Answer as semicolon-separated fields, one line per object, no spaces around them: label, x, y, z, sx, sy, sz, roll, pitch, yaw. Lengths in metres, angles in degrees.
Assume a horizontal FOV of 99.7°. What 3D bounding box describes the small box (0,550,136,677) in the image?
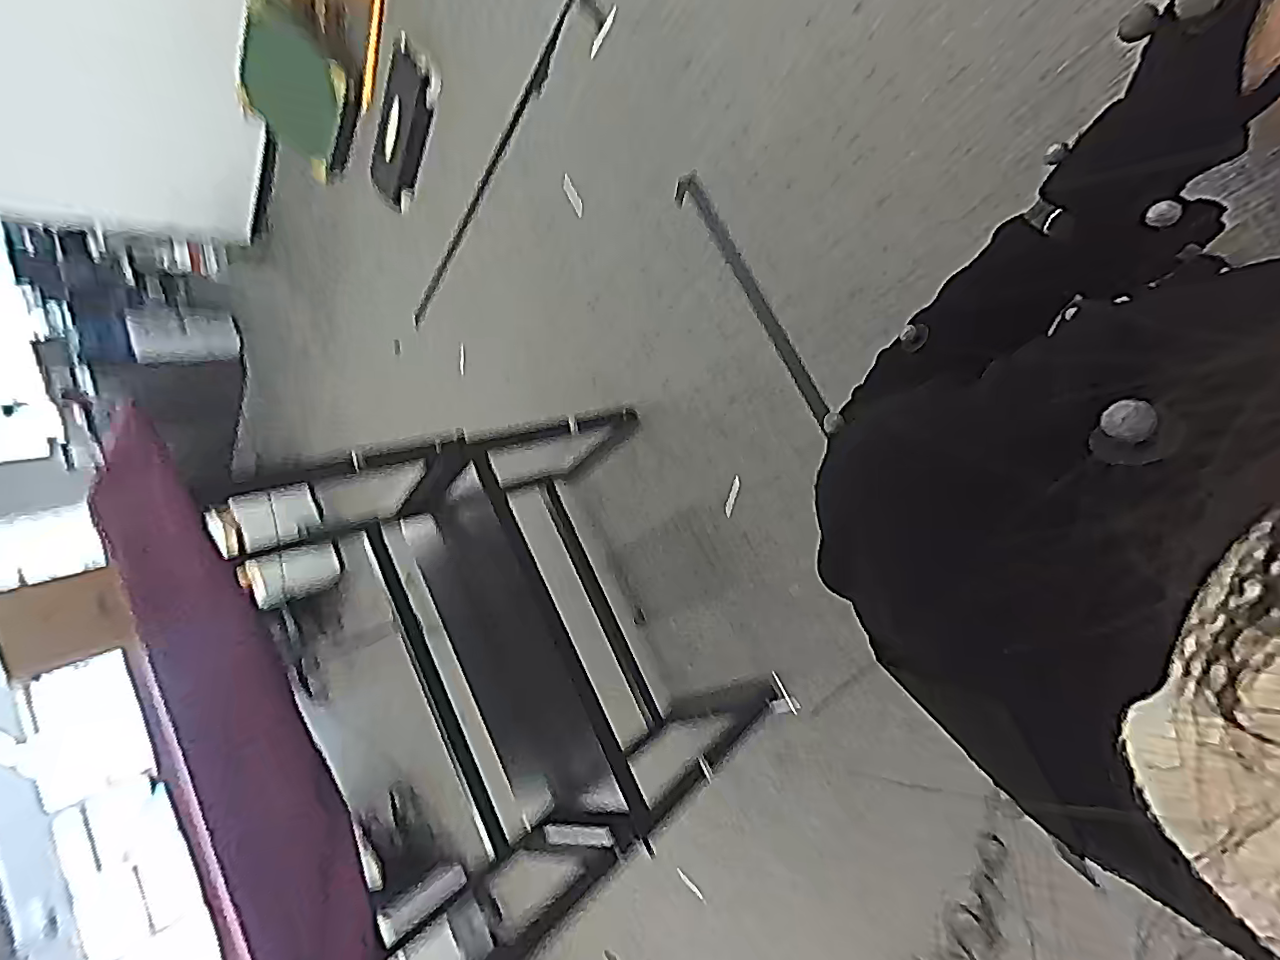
small box;-1.065;0.239;0.996;0.168;0.176;0.179;-27;84;45
